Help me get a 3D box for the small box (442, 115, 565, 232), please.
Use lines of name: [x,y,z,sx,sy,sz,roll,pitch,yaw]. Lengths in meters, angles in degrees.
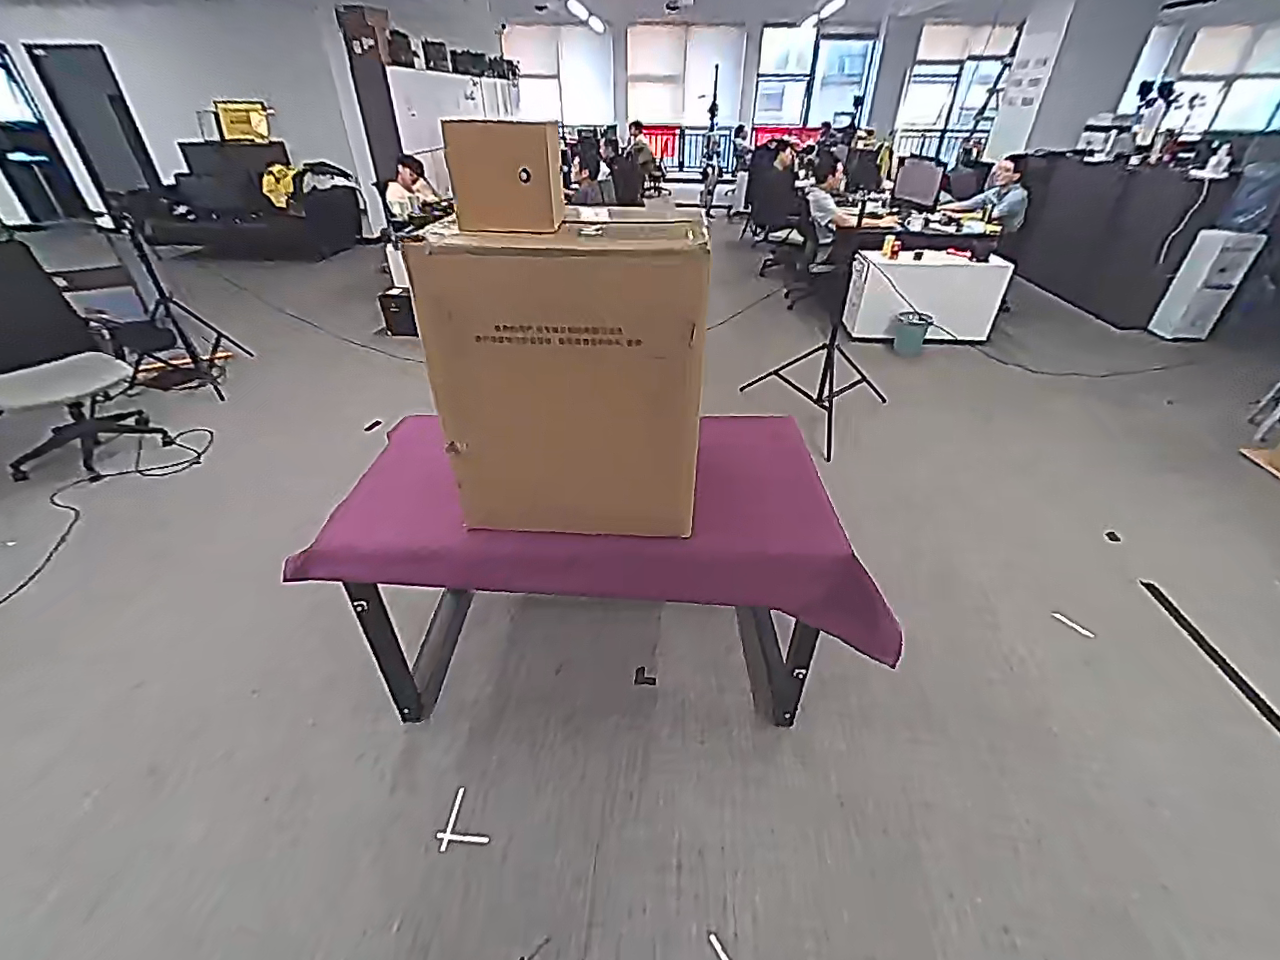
small box: [-0.234,-0.555,0.980,0.179,0.176,0.168,0,34,0]
